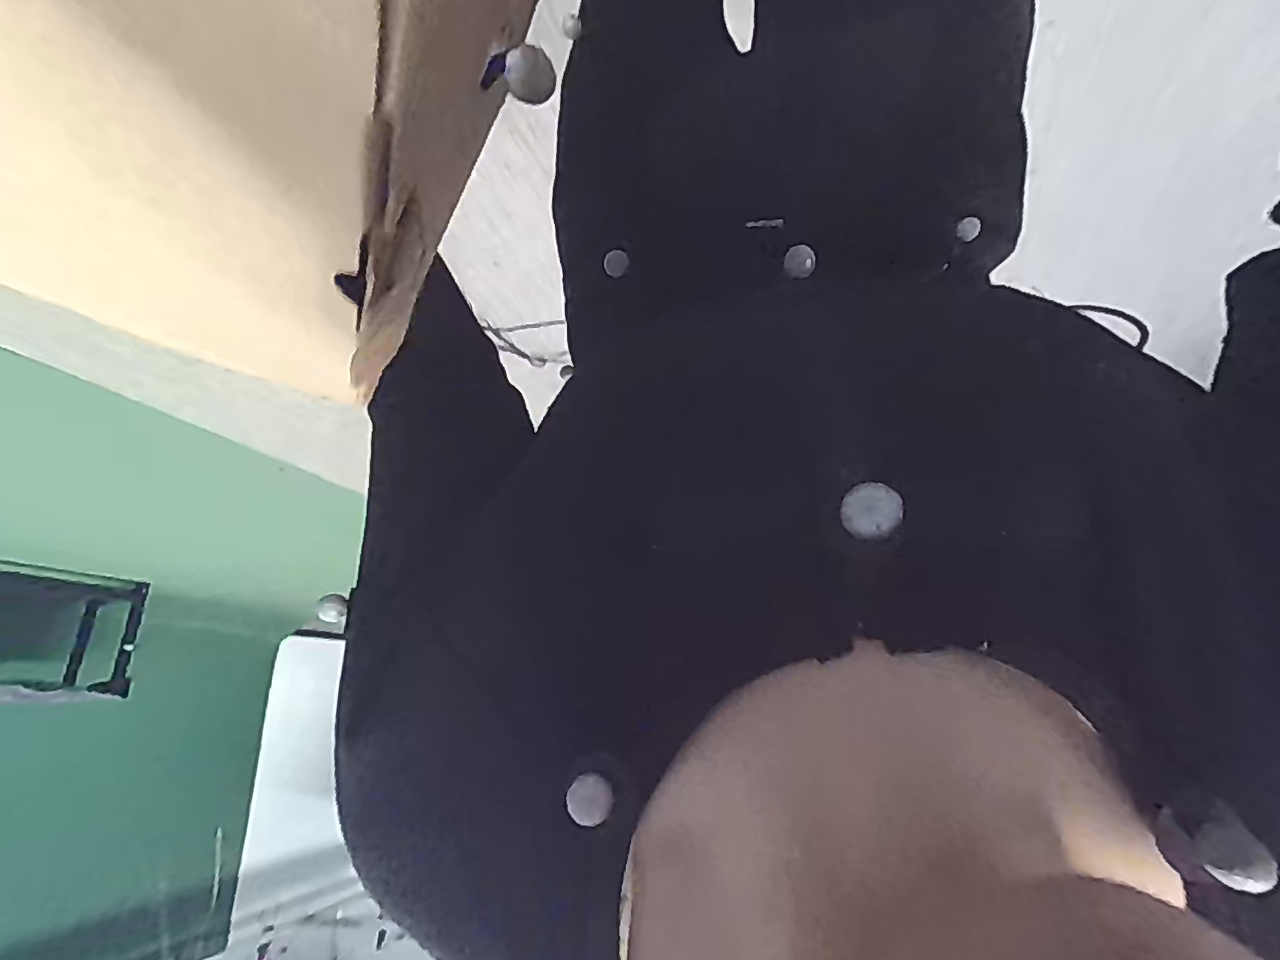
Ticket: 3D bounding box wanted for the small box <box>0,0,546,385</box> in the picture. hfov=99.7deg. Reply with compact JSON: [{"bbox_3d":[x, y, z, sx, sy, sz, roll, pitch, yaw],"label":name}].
[{"bbox_3d":[-0.109,-0.153,0.121,0.179,0.176,0.168,24,157,-24],"label":"small box"}]
